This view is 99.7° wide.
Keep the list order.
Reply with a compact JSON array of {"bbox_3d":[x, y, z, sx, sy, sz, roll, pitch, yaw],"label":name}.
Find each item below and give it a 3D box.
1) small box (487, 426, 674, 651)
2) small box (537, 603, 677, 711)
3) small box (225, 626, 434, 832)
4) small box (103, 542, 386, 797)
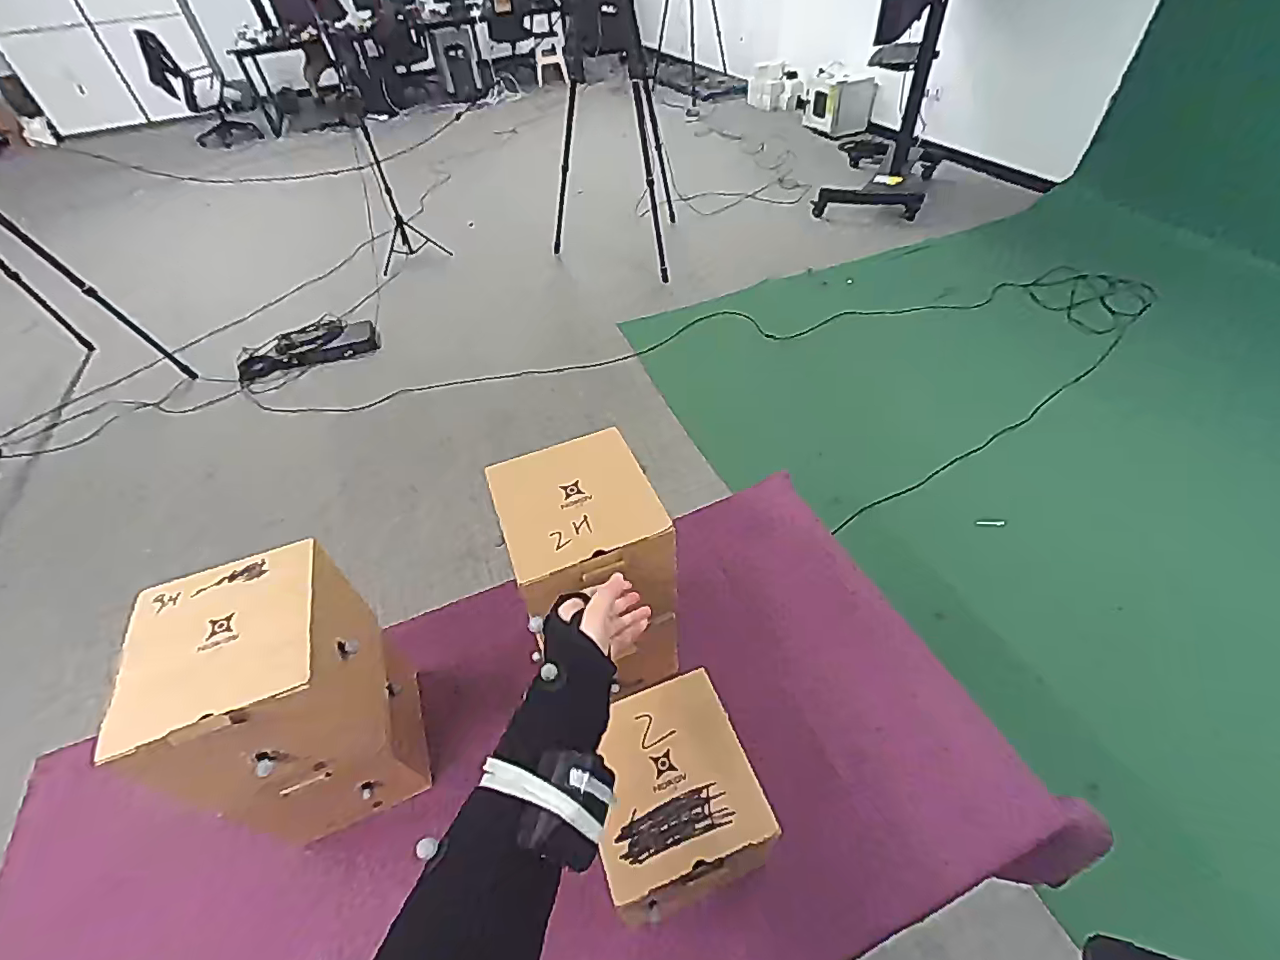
[{"bbox_3d":[-0.068,0.070,0.646,0.168,0.176,0.179,-20,49,-11],"label":"small box"},{"bbox_3d":[-0.059,0.188,0.761,0.168,0.176,0.179,-21,50,-14],"label":"small box"},{"bbox_3d":[-0.375,0.313,0.681,0.168,0.176,0.179,-19,48,-13],"label":"small box"},{"bbox_3d":[-0.381,0.201,0.560,0.168,0.176,0.179,-19,49,-13],"label":"small box"}]
